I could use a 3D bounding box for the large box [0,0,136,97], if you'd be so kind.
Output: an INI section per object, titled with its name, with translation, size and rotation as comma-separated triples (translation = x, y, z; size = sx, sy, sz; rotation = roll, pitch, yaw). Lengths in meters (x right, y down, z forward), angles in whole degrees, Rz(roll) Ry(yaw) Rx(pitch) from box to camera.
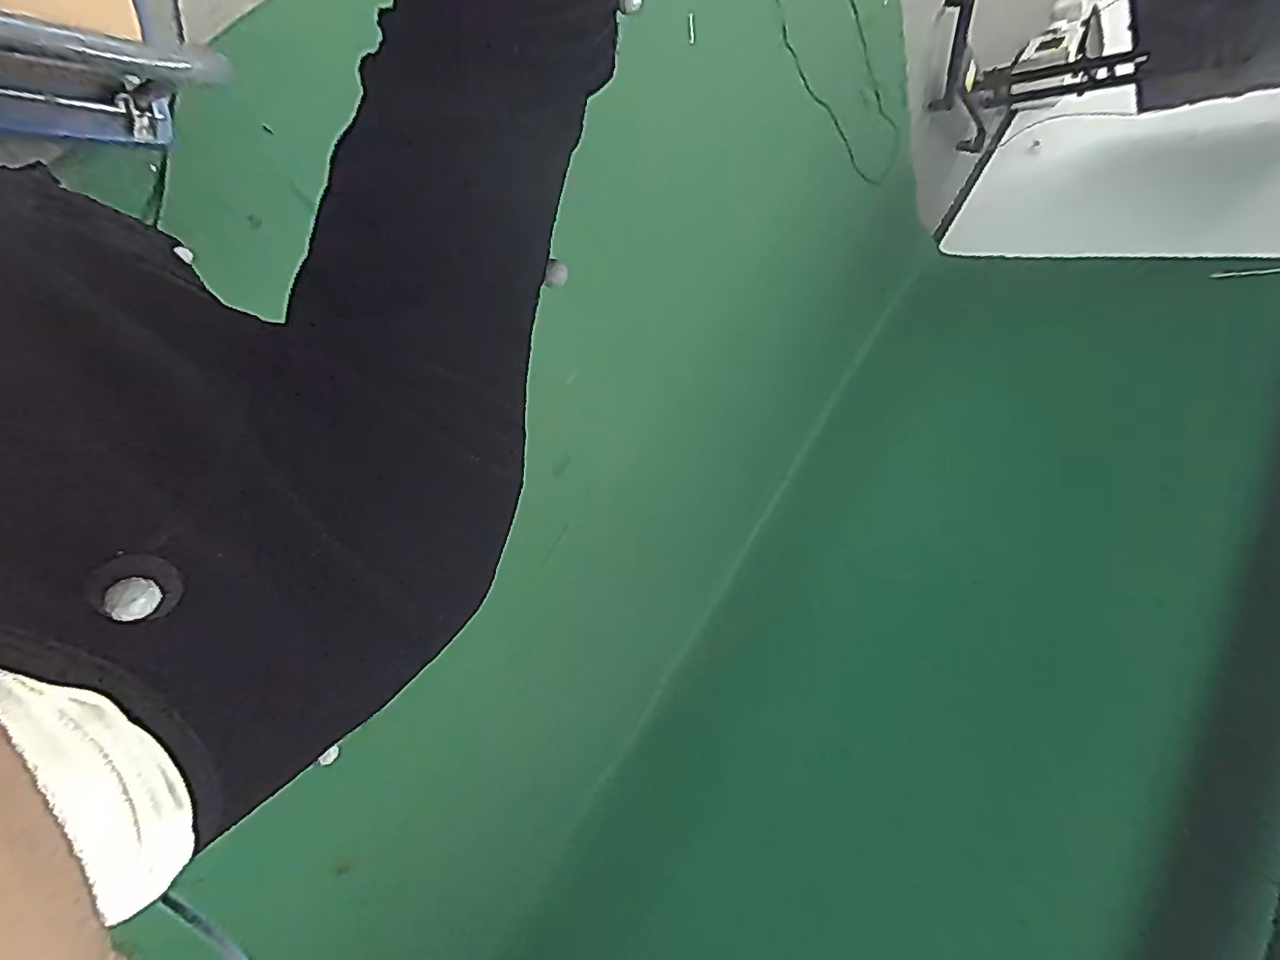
[large box]
translation = -0.958, -0.794, 0.717
size = 0.320, 0.320, 0.408
rotation = -23, 120, -41
